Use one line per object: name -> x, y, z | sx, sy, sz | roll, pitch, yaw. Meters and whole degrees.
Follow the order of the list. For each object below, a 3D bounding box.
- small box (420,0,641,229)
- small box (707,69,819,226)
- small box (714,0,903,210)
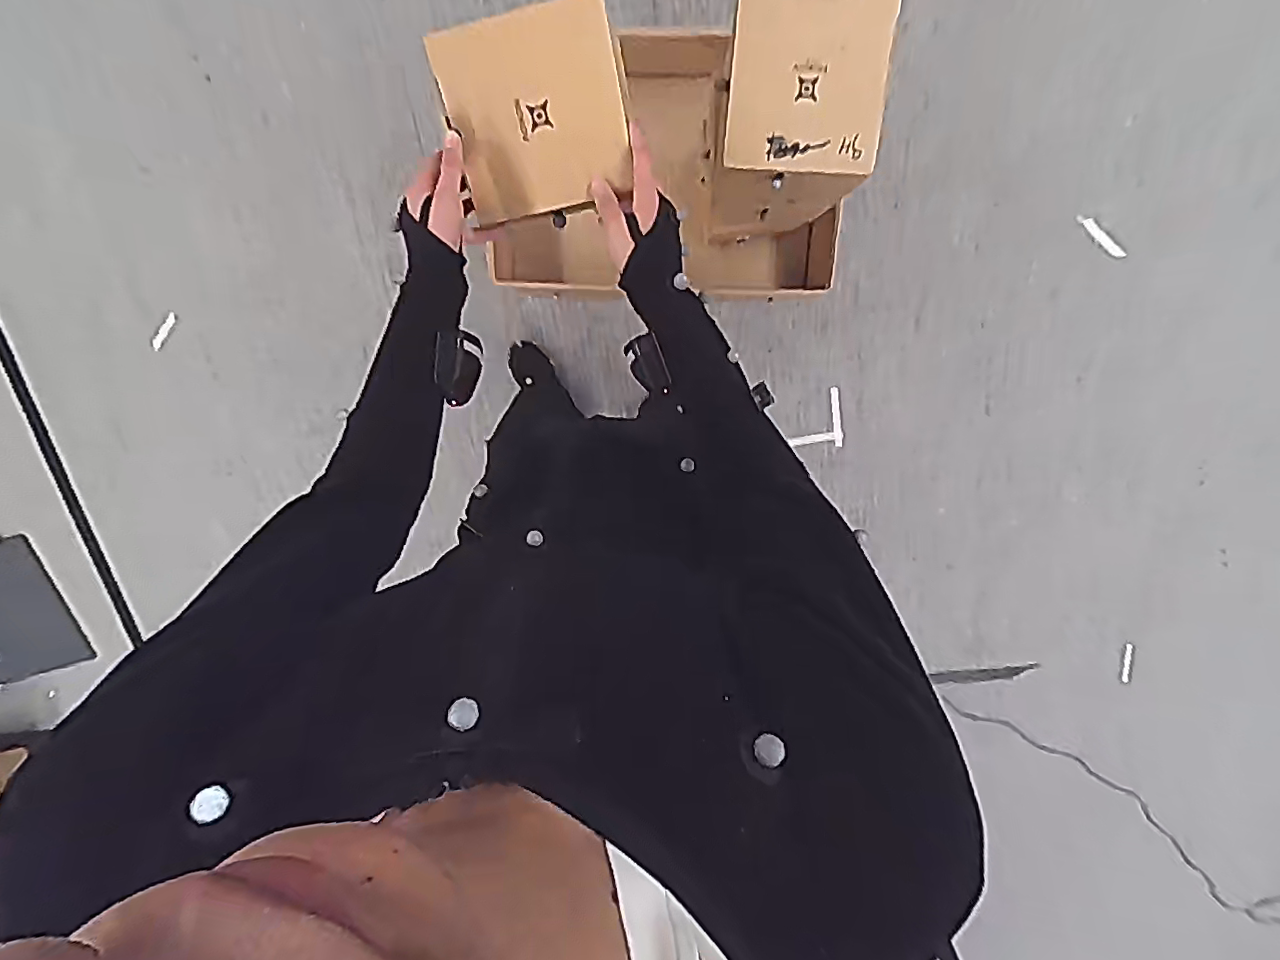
small box -> -0.098, -0.382, 0.587 | 0.179, 0.176, 0.168 | -9, 115, 10
small box -> 0.188, -0.478, 0.794 | 0.179, 0.176, 0.168 | -1, 106, 4
small box -> 0.180, -0.436, 0.635 | 0.168, 0.176, 0.179 | 5, 105, 3
